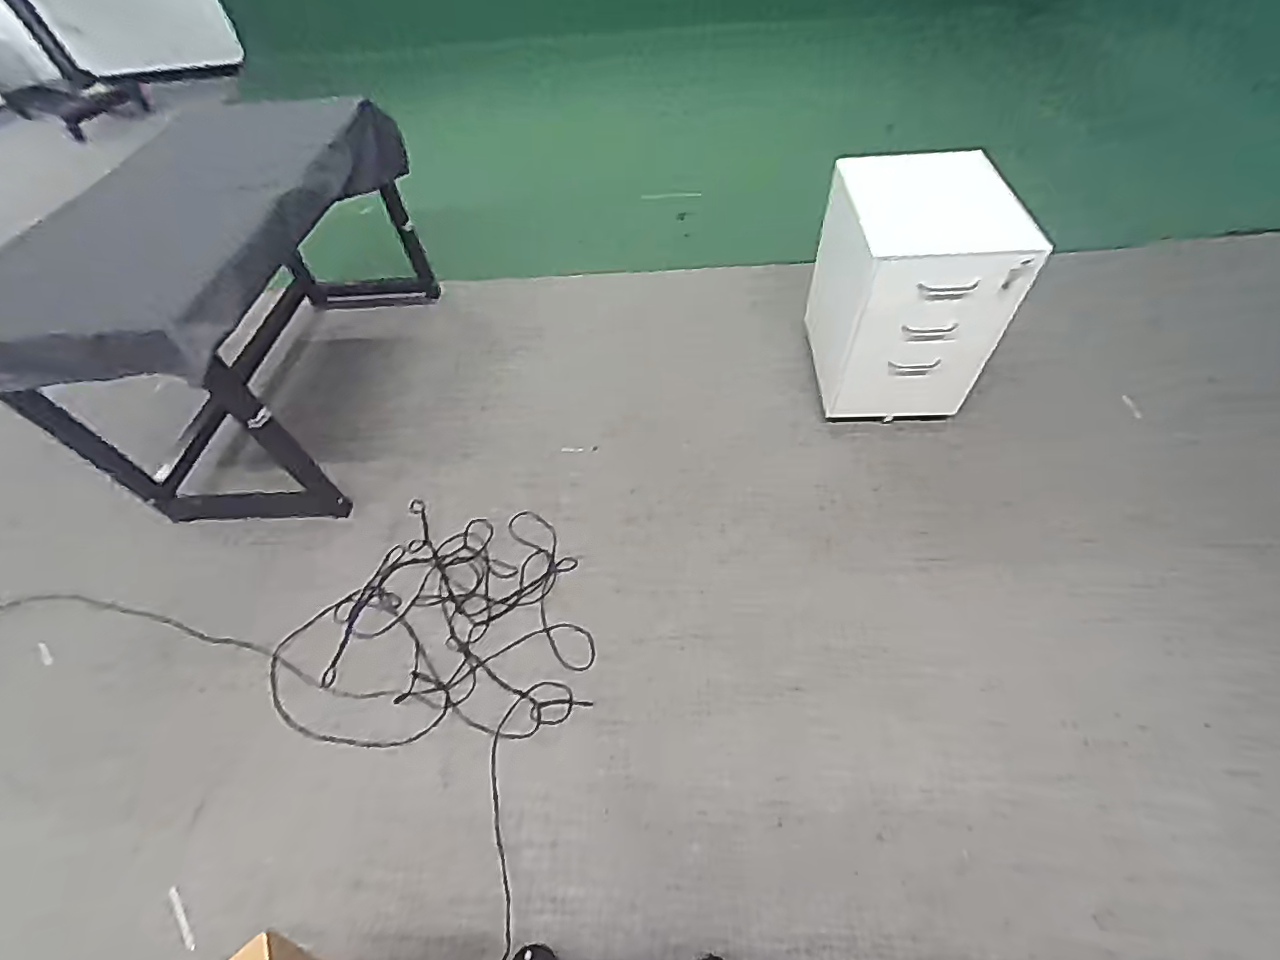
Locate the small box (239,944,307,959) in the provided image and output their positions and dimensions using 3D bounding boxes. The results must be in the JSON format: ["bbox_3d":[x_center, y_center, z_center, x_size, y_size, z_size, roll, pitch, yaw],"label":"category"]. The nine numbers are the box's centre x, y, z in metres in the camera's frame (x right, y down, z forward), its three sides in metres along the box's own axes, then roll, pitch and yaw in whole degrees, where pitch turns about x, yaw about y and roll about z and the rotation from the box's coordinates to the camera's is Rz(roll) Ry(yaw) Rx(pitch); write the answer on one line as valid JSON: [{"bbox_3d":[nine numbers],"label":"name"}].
[{"bbox_3d":[-0.396,0.633,0.545,0.168,0.179,0.176,-36,30,-25],"label":"small box"}]
